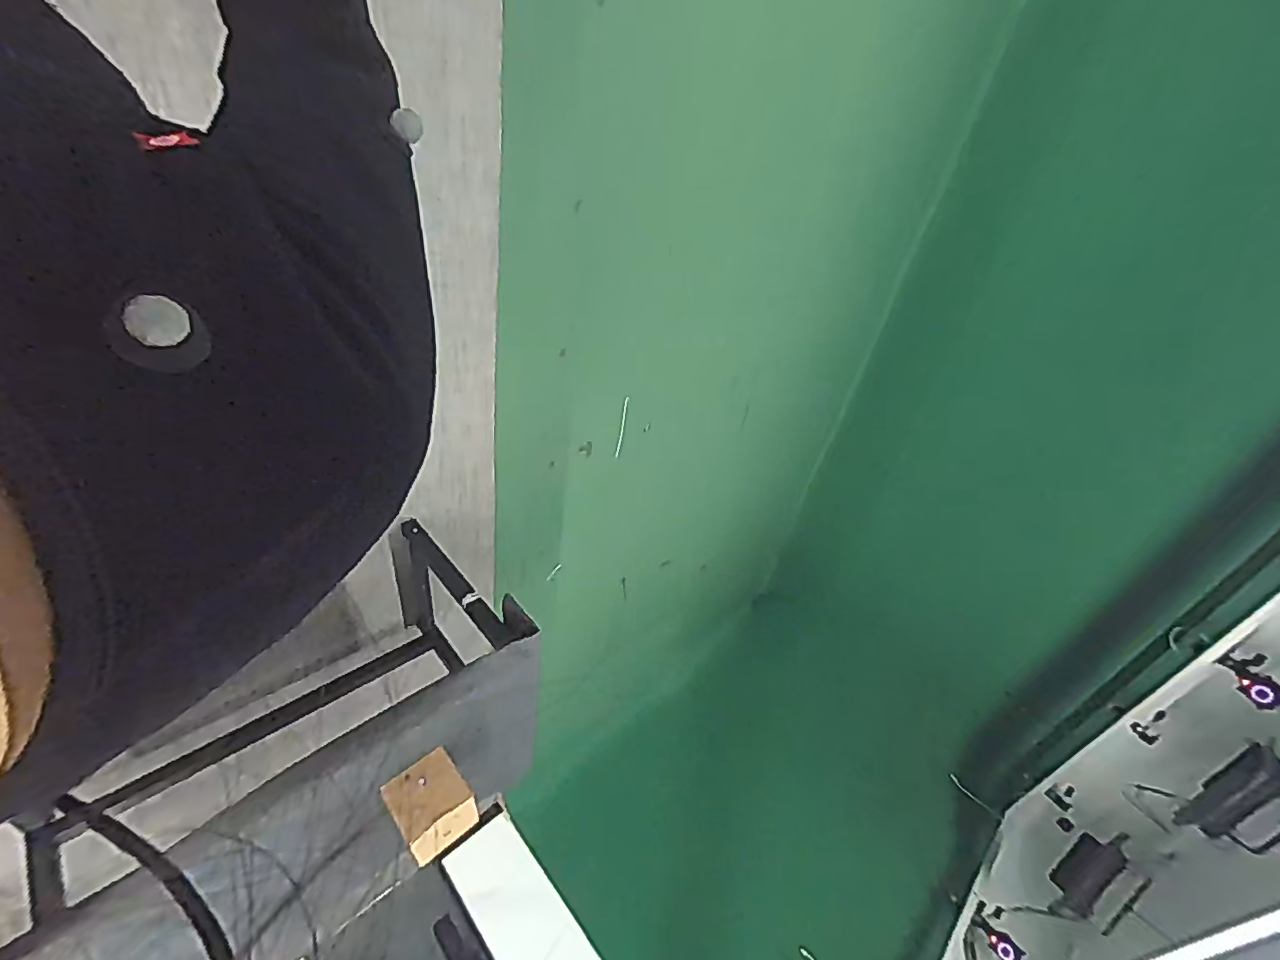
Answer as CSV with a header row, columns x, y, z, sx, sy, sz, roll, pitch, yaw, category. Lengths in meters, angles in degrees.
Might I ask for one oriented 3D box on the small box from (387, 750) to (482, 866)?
x,y,z,sx,sy,sz,roll,pitch,yaw,category
-0.531,0.845,1.405,0.168,0.176,0.179,-28,141,-35,small box
